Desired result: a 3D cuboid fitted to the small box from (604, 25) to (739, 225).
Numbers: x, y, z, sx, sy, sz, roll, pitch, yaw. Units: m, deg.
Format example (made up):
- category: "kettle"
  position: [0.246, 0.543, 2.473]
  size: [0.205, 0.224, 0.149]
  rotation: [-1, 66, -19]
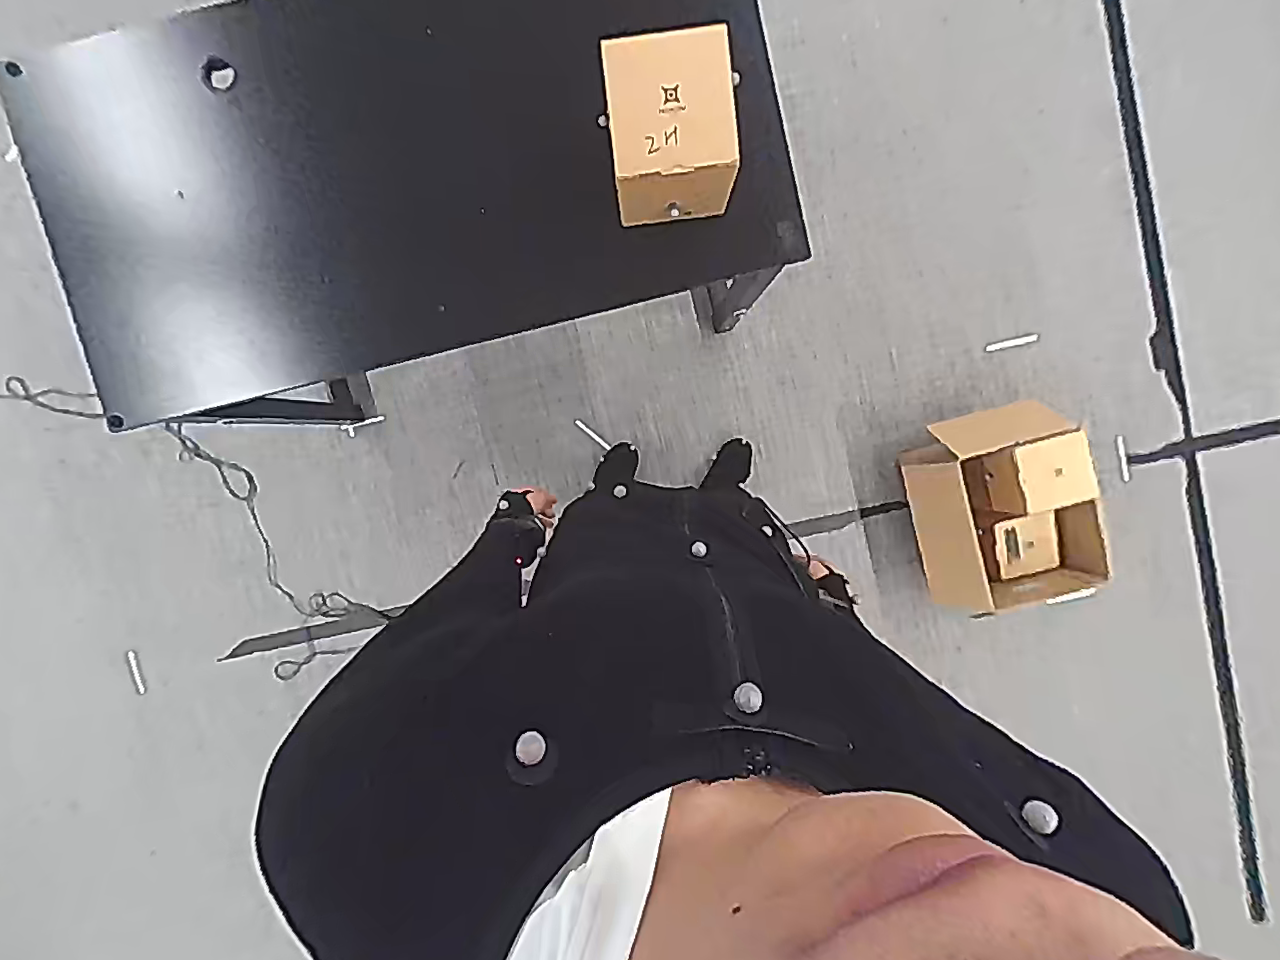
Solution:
- category: "small box"
  position: [0.042, -0.494, 0.778]
  size: [0.168, 0.176, 0.179]
  rotation: [-6, 95, 2]
